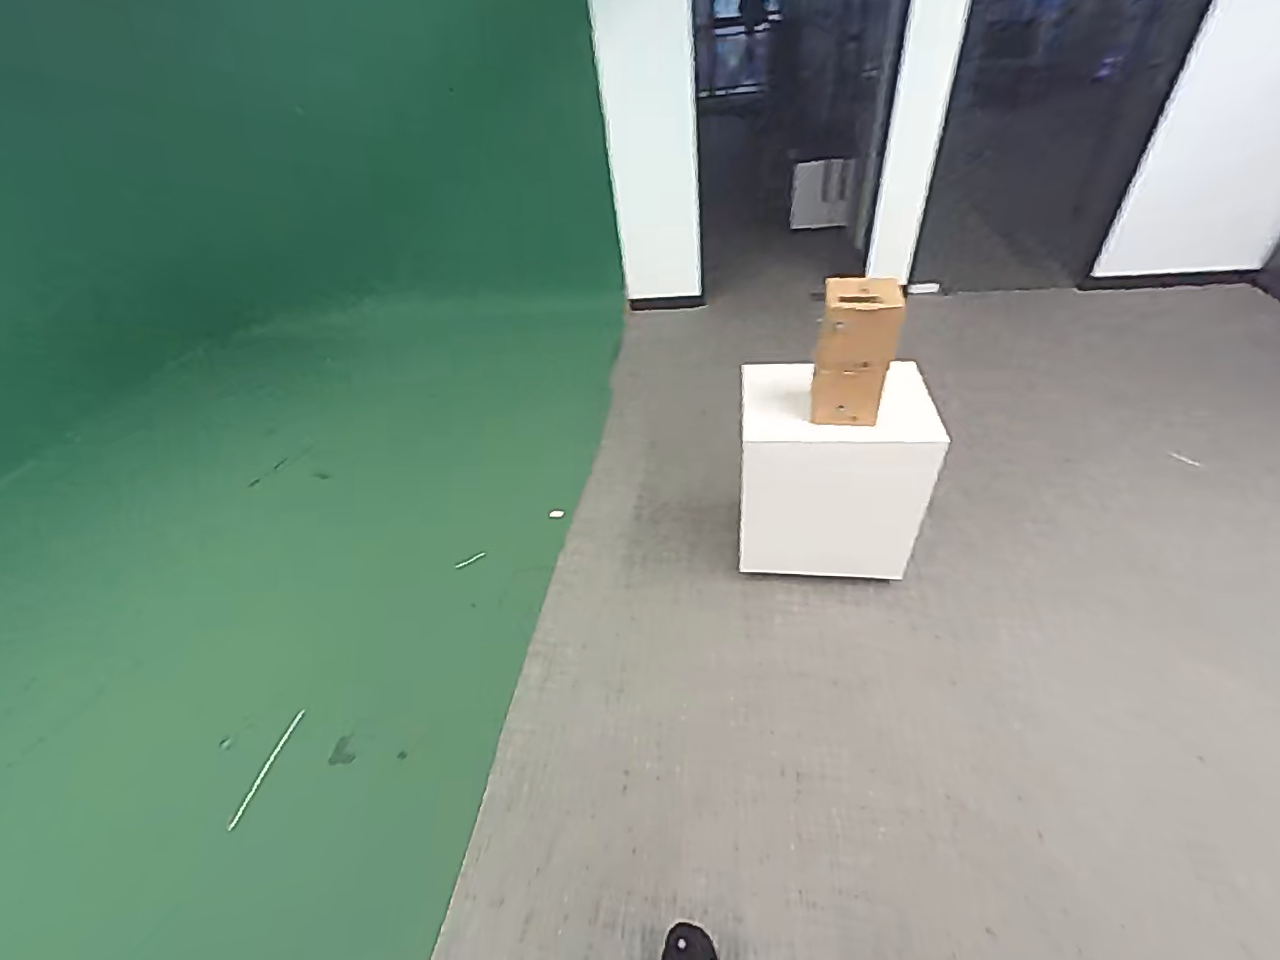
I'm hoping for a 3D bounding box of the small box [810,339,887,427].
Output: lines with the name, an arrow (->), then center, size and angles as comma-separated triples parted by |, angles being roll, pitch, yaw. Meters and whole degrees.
small box -> 0.550, -0.261, 1.449 | 0.168, 0.176, 0.179 | 3, 41, 13
